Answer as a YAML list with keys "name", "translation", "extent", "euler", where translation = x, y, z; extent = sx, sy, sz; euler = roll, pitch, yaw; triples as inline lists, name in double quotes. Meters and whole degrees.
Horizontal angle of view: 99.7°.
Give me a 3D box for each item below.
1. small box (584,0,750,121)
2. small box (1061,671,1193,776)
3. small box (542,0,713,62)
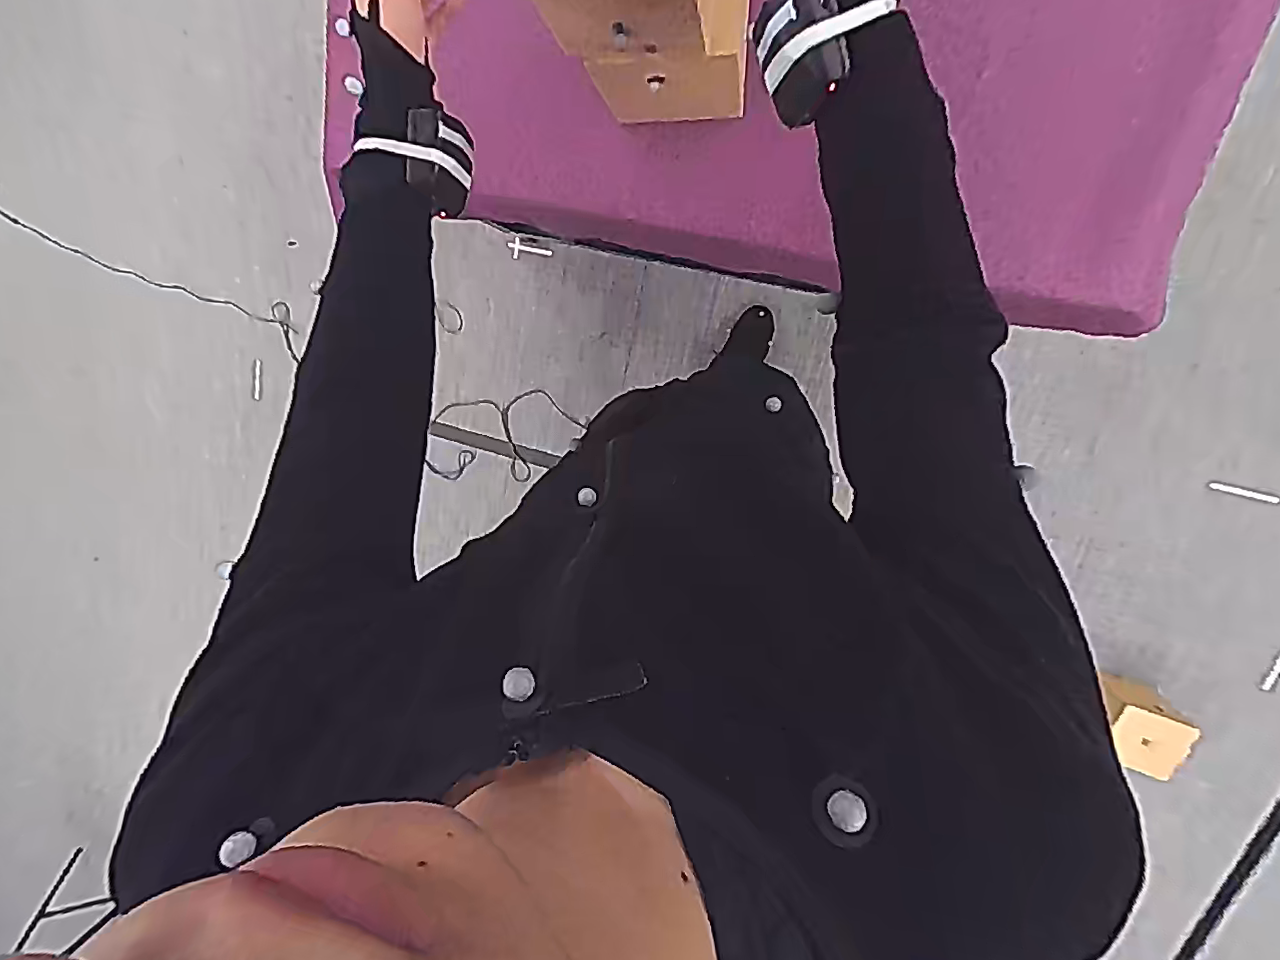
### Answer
- name: "small box"
  translation: [0.040, -0.561, 0.658]
  extent: [0.179, 0.176, 0.168]
  euler: [4, 104, 10]
- name: "small box"
  translation: [1.287, 0.641, 1.448]
  extent: [0.179, 0.176, 0.168]
  euler: [18, 107, 7]
- name: "small box"
  translation: [-0.014, -0.535, 0.503]
  extent: [0.168, 0.176, 0.179]
  euler: [10, 105, 10]
